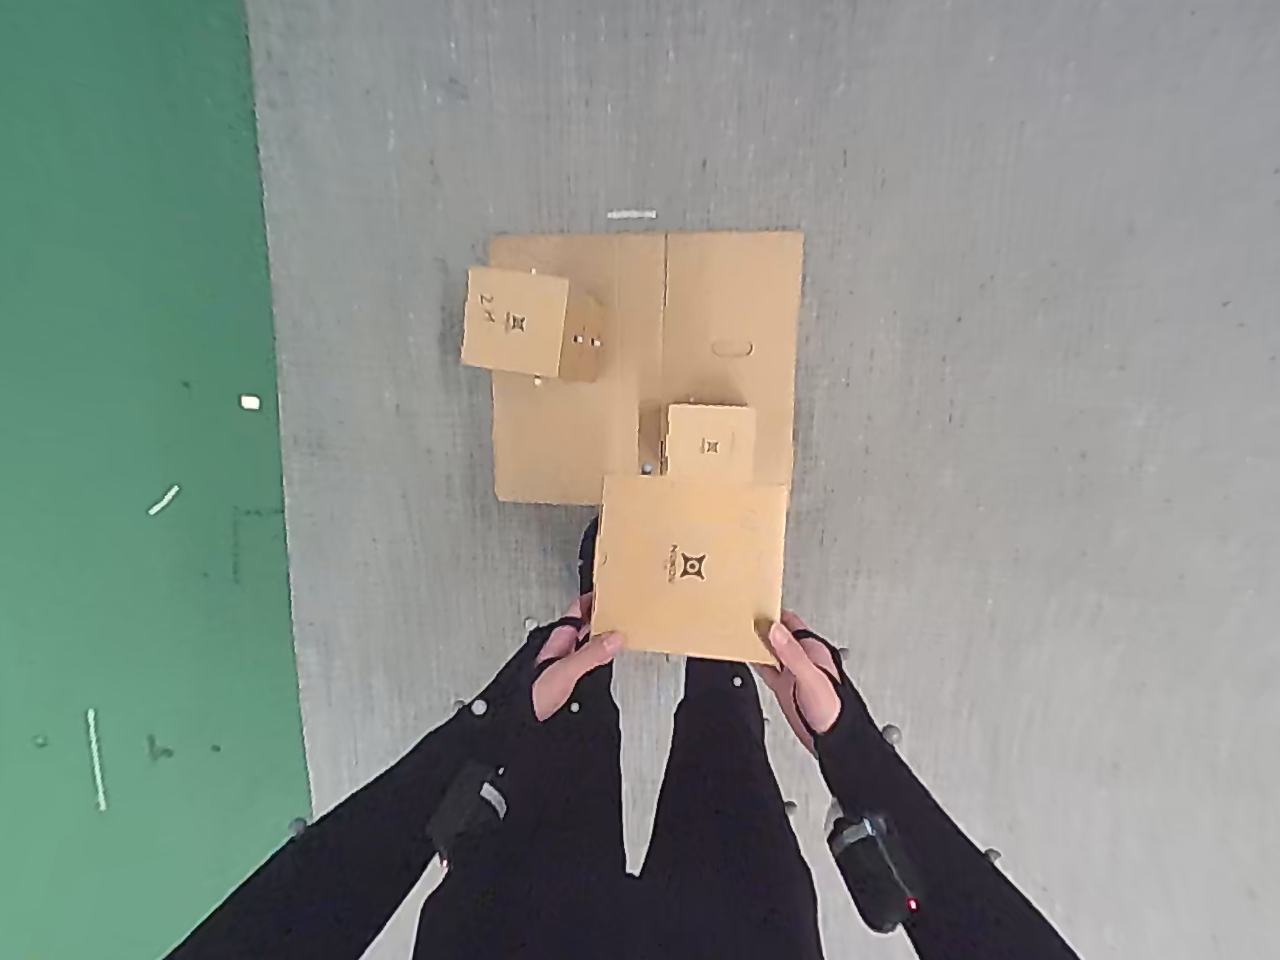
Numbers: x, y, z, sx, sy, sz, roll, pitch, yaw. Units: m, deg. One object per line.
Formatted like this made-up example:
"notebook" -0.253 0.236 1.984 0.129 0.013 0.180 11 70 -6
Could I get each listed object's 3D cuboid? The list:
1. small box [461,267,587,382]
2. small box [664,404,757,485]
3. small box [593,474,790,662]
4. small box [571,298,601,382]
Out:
"small box" -0.201 -0.273 0.985 0.179 0.176 0.168 10 98 5
"small box" 0.147 -0.073 1.147 0.179 0.176 0.168 3 98 6
"small box" 0.056 0.086 0.587 0.179 0.176 0.168 4 86 7
"small box" -0.186 -0.302 1.148 0.179 0.176 0.168 10 98 4
